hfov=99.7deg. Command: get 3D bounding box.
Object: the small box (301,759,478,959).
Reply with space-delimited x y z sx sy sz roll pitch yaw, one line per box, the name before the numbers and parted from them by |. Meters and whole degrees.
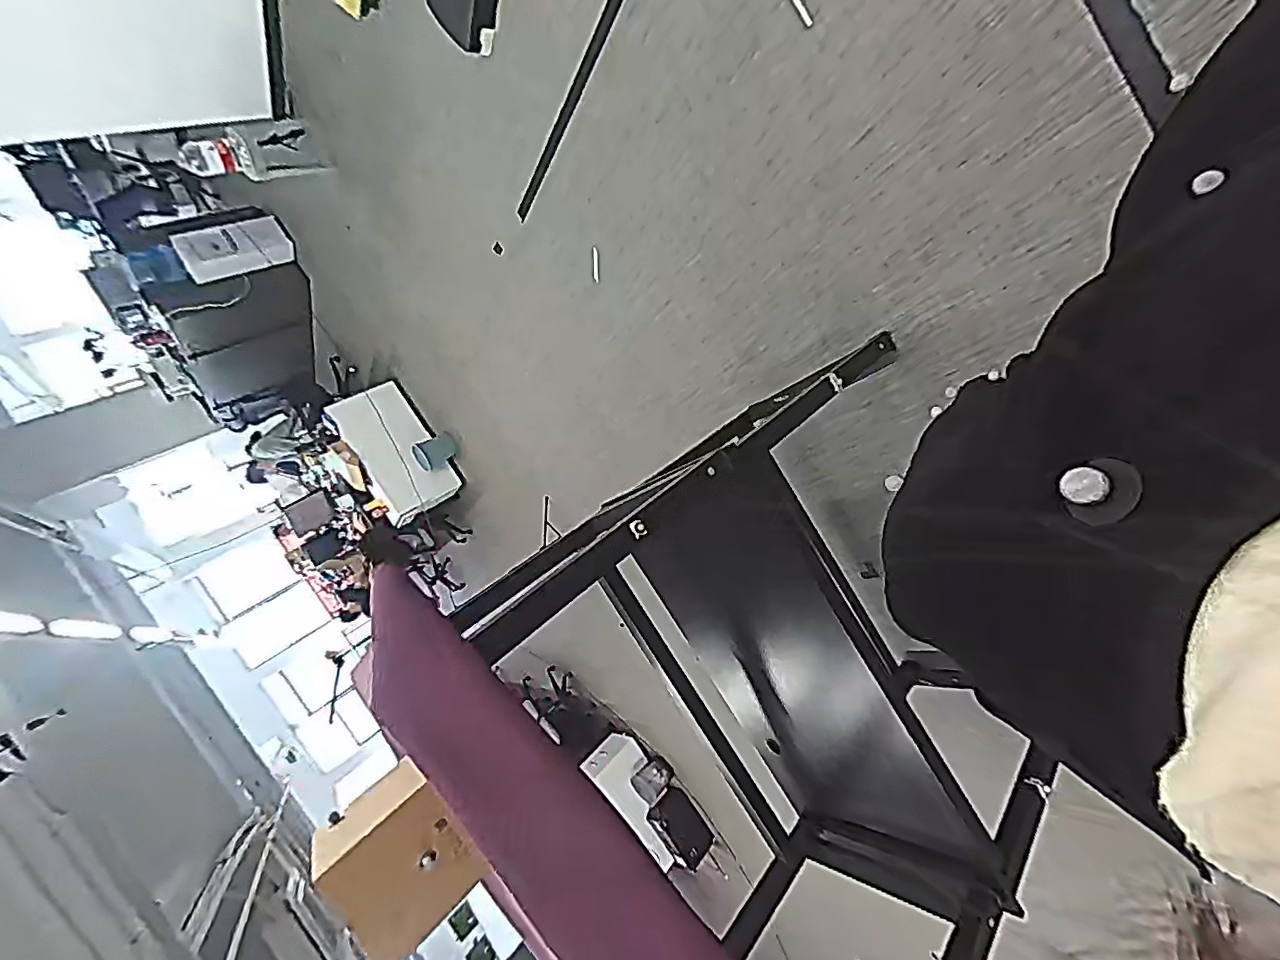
small box | -0.362 0.544 0.789 0.168 0.176 0.179 58 147 -7
